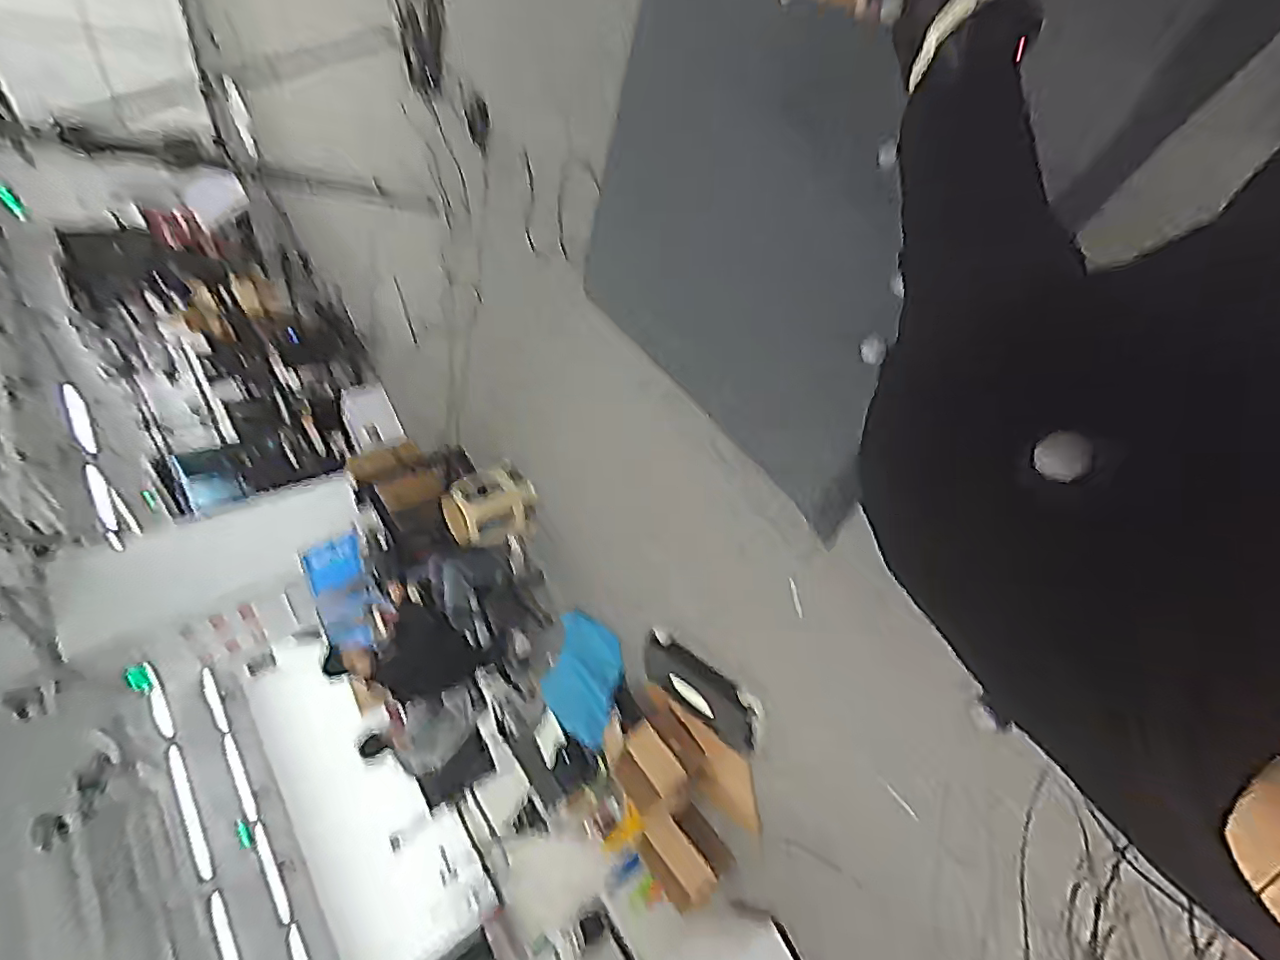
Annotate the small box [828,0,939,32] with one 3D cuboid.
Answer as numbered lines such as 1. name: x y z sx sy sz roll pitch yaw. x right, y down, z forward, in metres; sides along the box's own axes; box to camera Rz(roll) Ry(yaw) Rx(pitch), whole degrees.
1. small box: 0.191 -0.524 0.456 0.179 0.176 0.168 61 145 24
